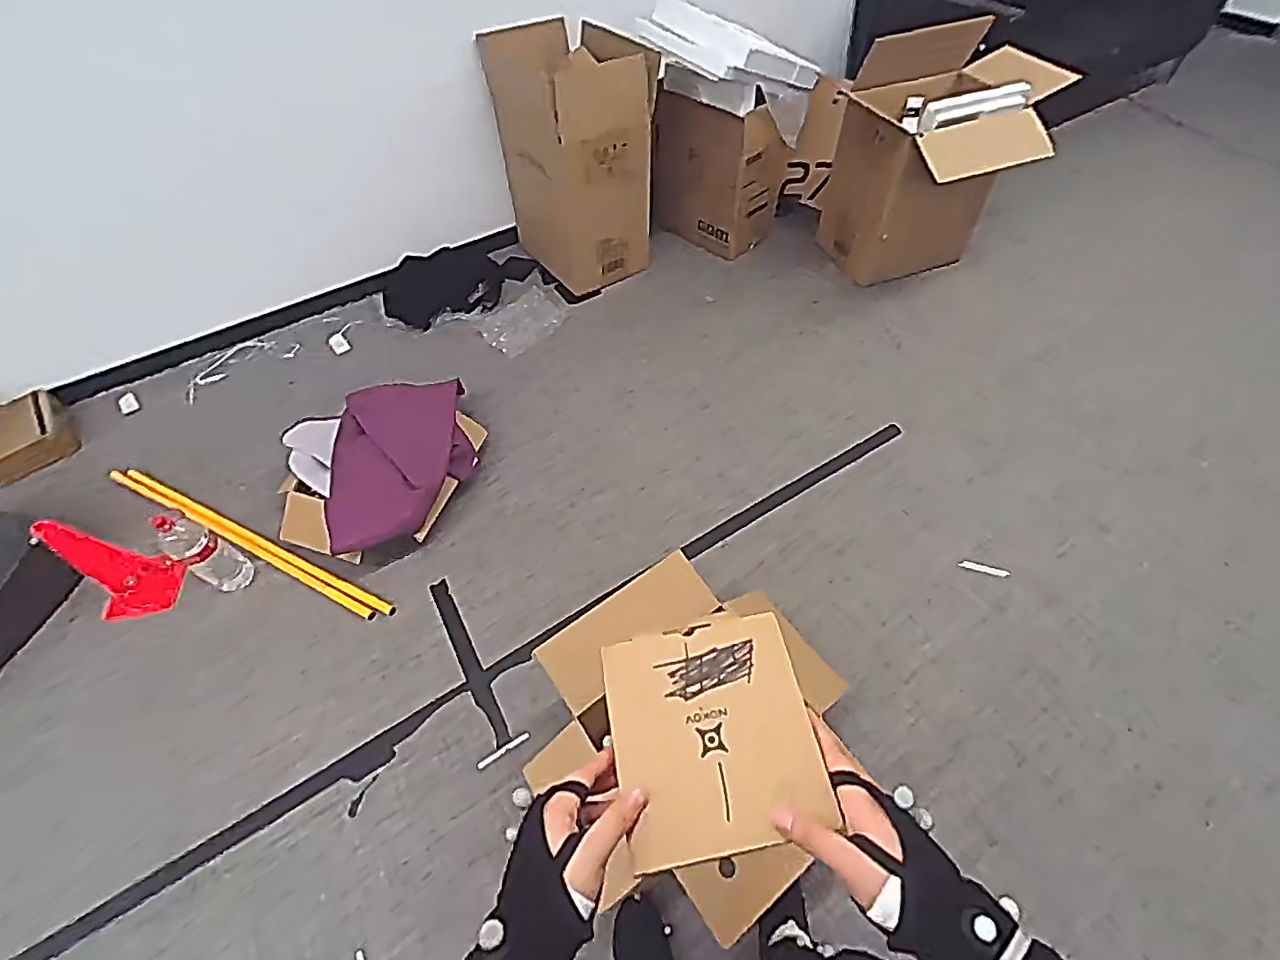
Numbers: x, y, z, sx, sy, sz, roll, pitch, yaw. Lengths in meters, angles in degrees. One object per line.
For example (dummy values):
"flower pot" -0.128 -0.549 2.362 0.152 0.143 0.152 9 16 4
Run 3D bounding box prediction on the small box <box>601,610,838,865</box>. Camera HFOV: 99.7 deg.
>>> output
"small box" 0.061 0.249 0.517 0.168 0.176 0.179 -11 55 -2
